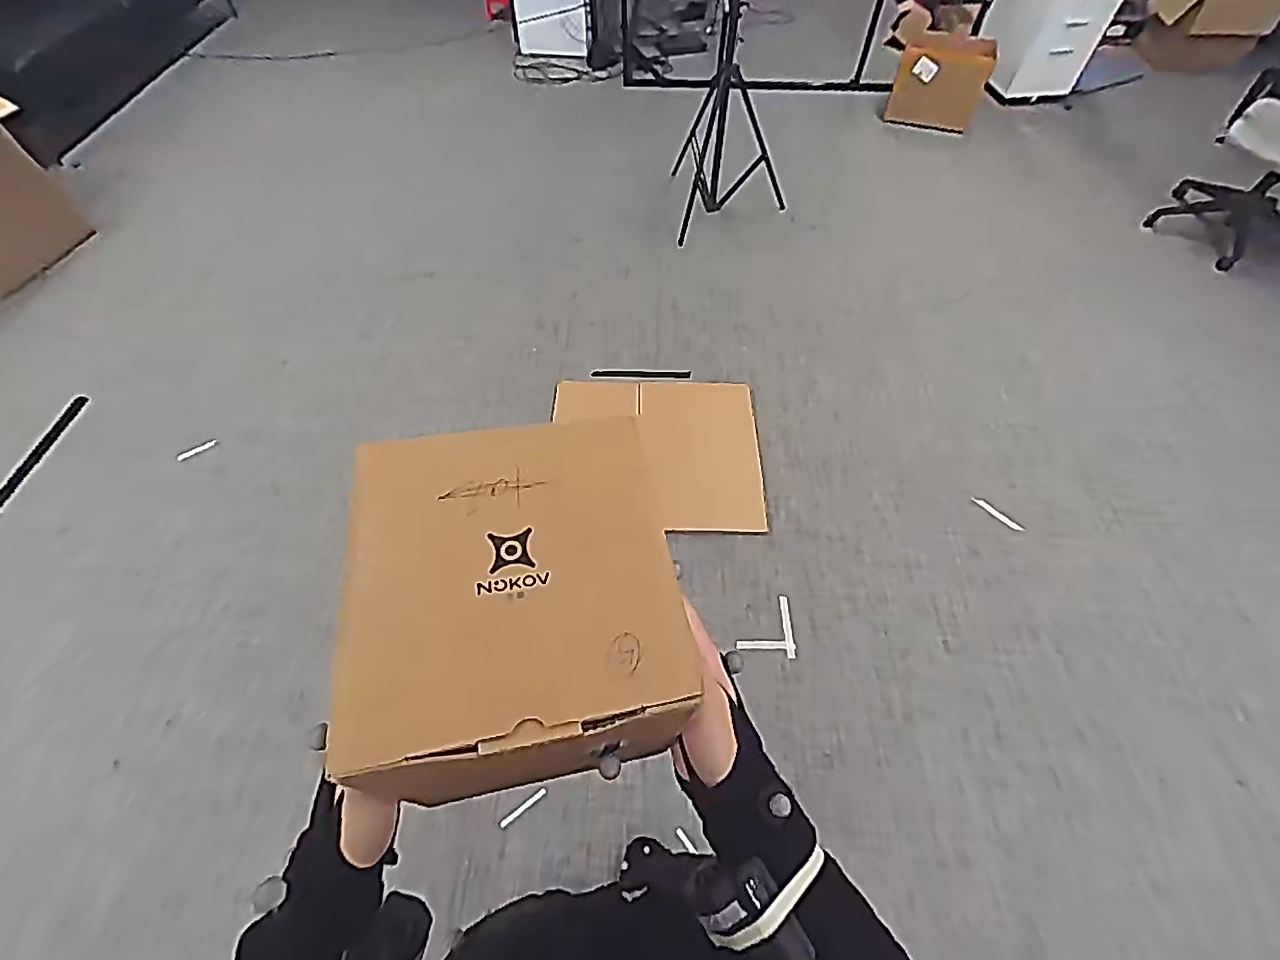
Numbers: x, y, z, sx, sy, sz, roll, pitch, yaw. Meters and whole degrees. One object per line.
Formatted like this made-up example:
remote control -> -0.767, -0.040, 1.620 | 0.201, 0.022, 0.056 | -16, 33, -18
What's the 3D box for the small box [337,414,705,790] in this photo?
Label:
small box -> -0.071, 0.084, 0.346 | 0.168, 0.176, 0.179 | -8, 56, -12
